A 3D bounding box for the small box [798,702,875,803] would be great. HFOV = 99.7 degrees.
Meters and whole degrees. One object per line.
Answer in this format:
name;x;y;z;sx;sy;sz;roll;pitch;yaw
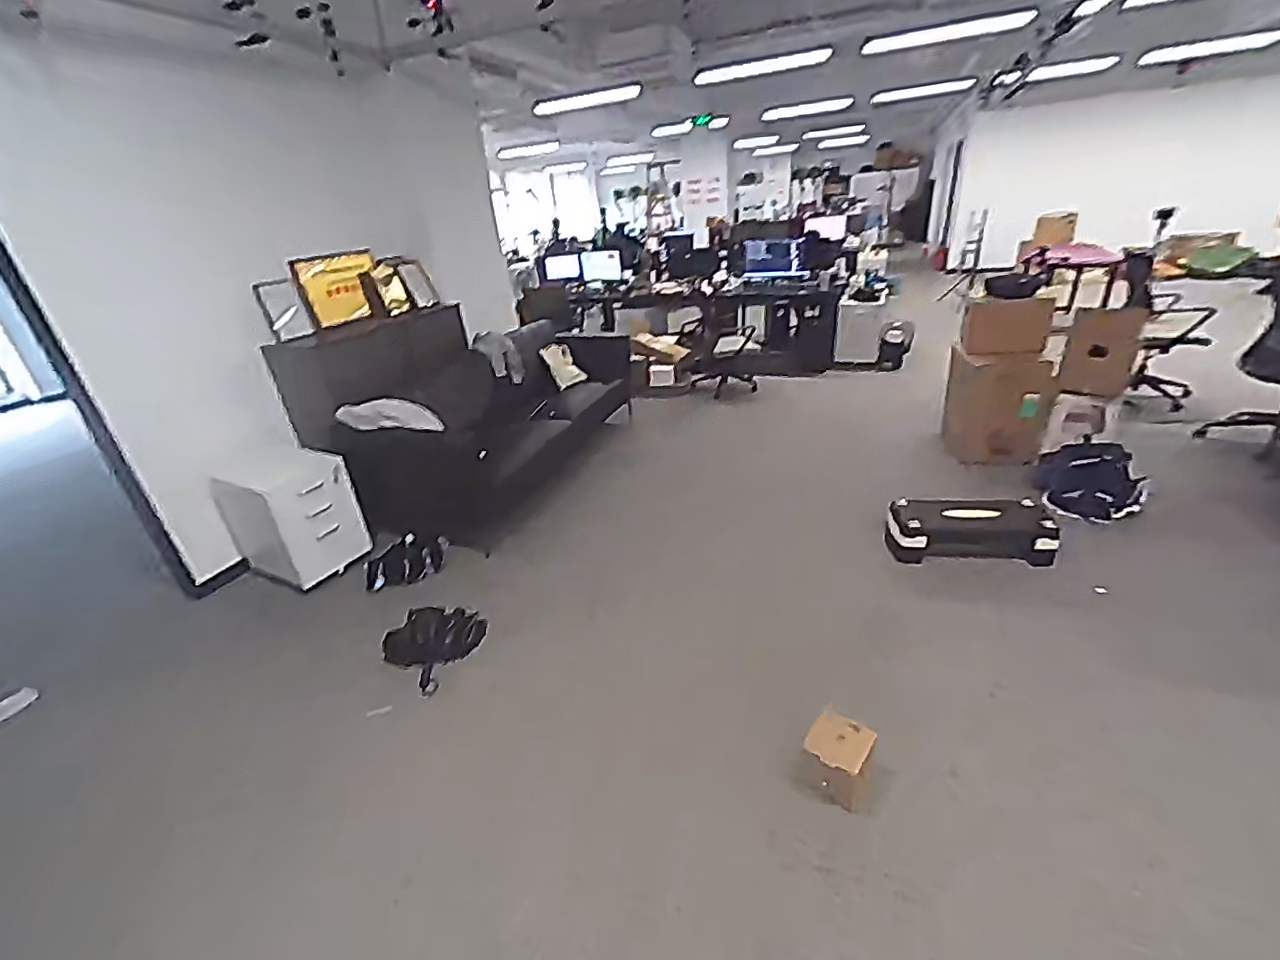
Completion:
small box;0.589;0.819;1.623;0.168;0.176;0.179;16;35;37
